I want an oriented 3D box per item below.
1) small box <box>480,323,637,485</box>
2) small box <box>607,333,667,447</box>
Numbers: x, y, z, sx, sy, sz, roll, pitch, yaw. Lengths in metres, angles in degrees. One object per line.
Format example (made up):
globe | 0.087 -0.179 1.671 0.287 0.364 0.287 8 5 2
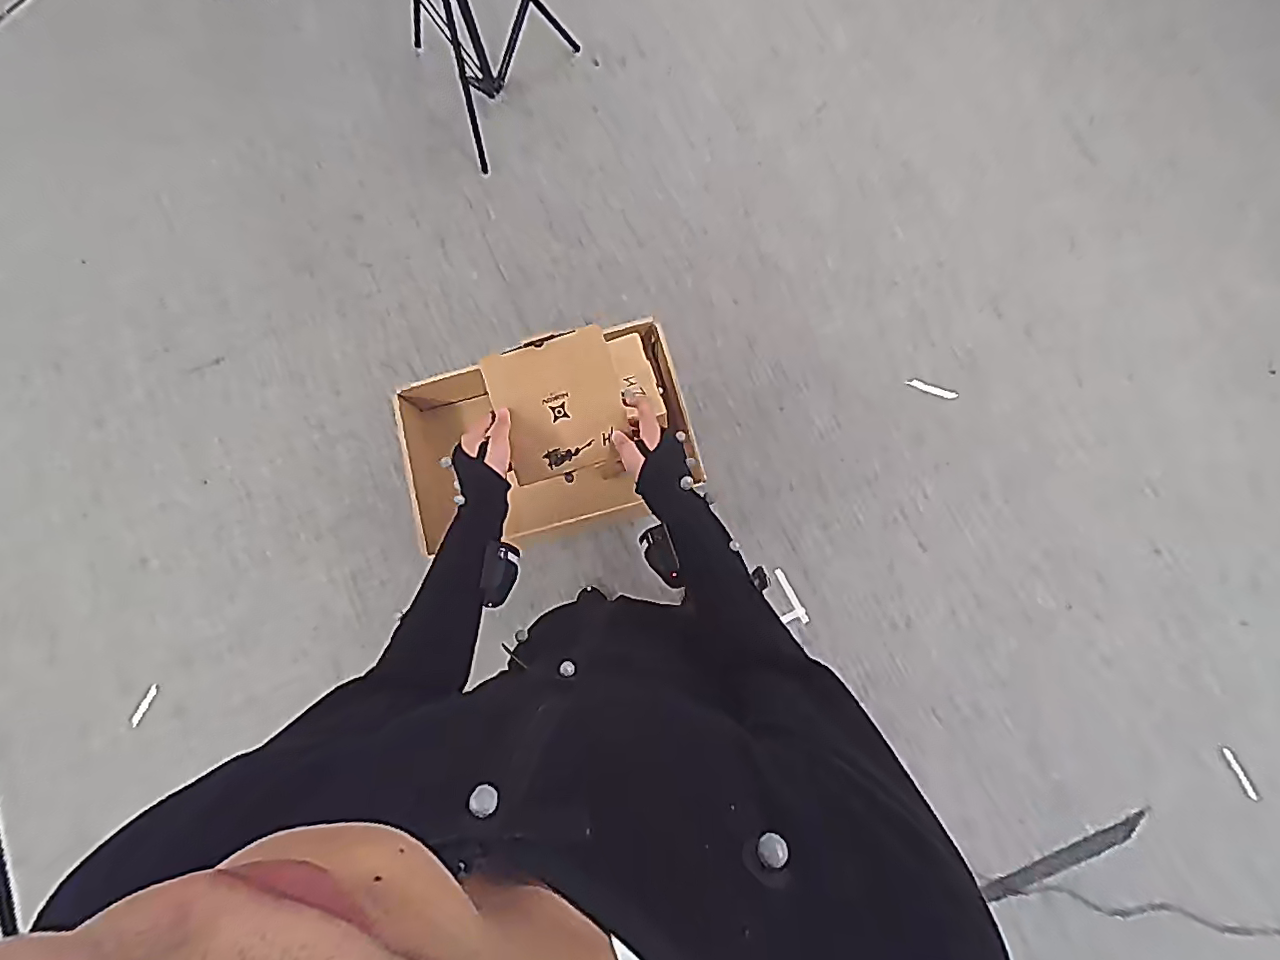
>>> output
small box | -0.105 -0.099 0.774 0.168 0.176 0.179 -17 92 2
small box | -0.054 -0.150 1.041 0.179 0.176 0.168 -19 79 0
